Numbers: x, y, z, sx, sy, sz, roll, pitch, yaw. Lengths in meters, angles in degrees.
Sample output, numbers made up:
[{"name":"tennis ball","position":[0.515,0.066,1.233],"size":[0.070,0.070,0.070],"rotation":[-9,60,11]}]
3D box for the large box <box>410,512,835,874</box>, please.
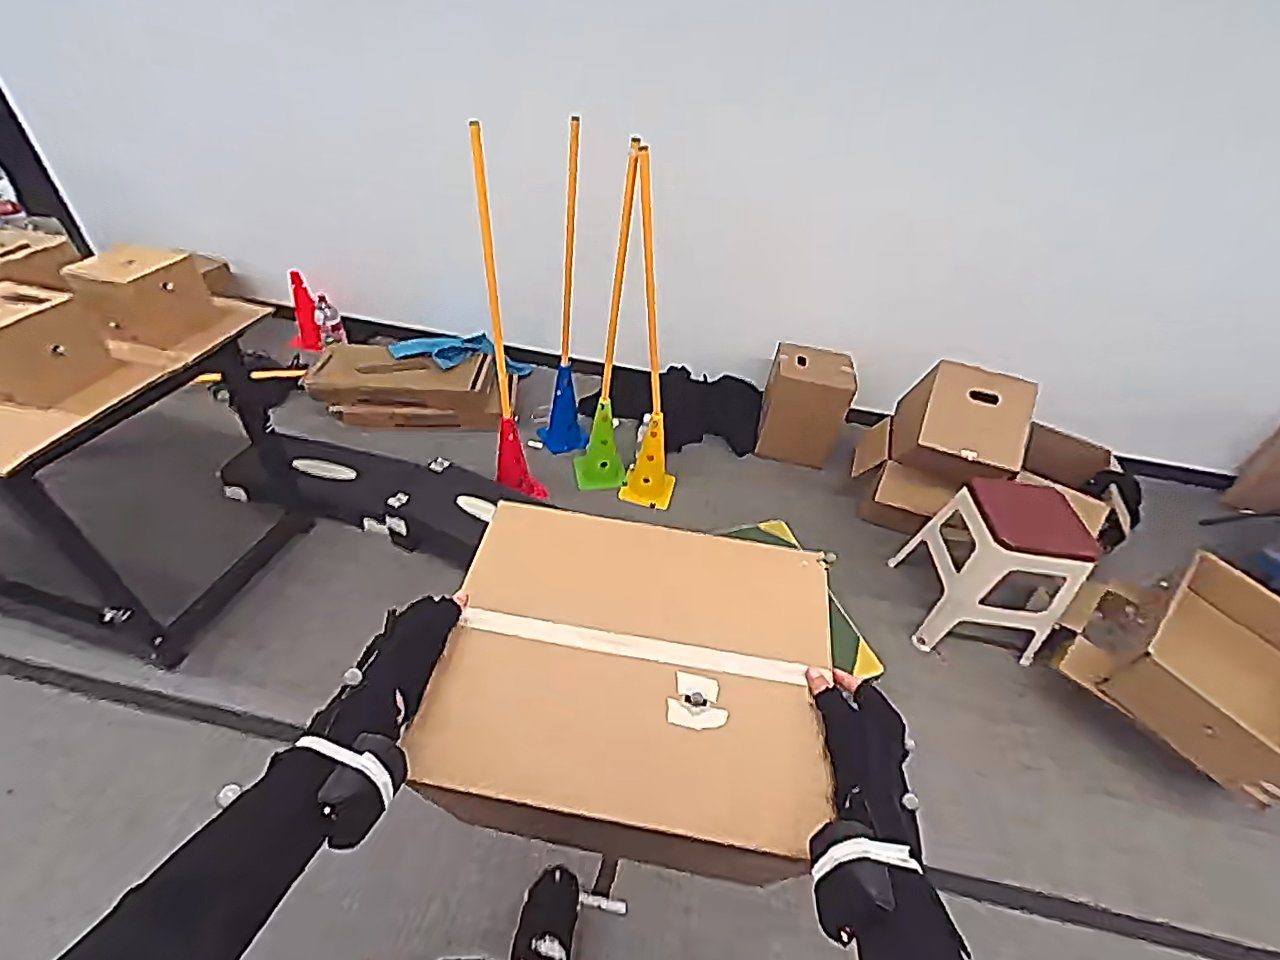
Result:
[{"name":"large box","position":[-0.009,0.278,0.700],"size":[0.408,0.320,0.320],"rotation":[9,51,4]}]
